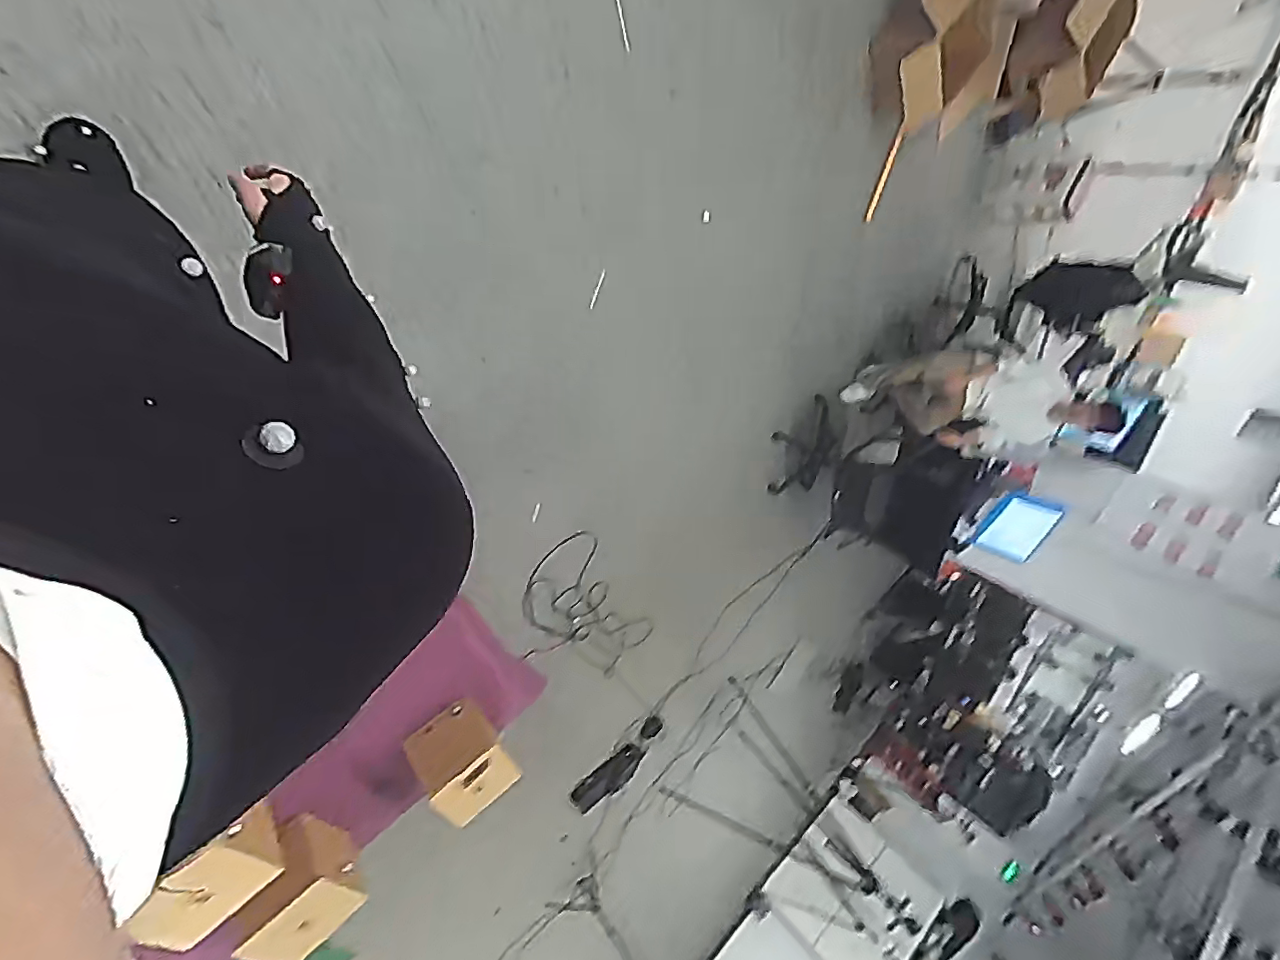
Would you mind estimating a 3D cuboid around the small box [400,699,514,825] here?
[{"bbox_3d":[-0.425,0.643,1.253,0.168,0.176,0.179,-34,134,-24],"label":"small box"}]

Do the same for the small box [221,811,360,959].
[{"bbox_3d":[-0.707,0.814,1.092,0.168,0.176,0.179,-36,135,-23],"label":"small box"}]

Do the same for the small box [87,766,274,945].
[{"bbox_3d":[-0.765,0.625,0.911,0.168,0.176,0.179,-36,136,-22],"label":"small box"}]
